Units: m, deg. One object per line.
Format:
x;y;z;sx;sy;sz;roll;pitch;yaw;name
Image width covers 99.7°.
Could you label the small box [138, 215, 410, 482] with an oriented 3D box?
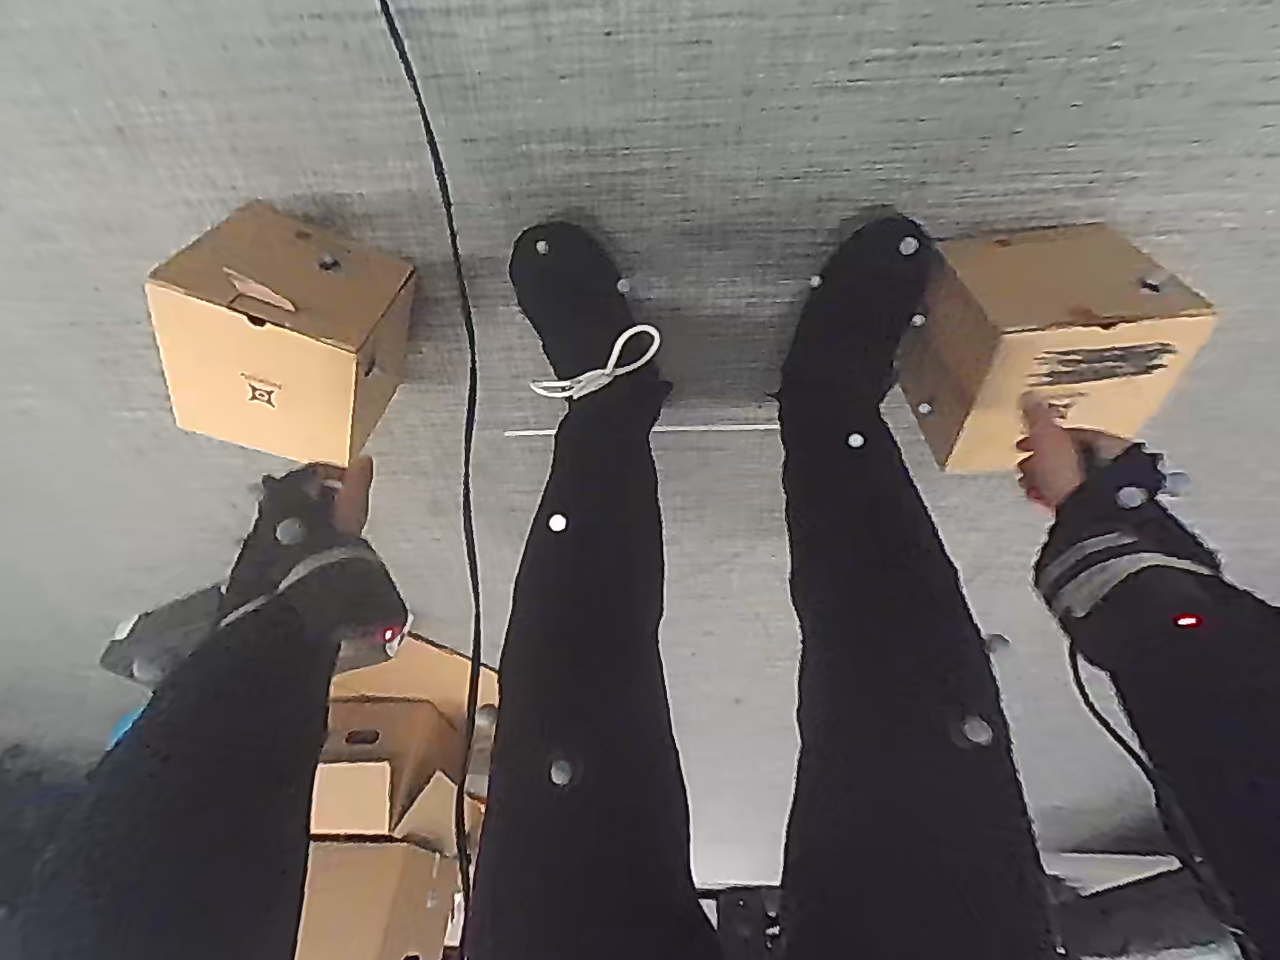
-0.355;-0.133;0.561;0.168;0.176;0.179;18;134;-16;small box
